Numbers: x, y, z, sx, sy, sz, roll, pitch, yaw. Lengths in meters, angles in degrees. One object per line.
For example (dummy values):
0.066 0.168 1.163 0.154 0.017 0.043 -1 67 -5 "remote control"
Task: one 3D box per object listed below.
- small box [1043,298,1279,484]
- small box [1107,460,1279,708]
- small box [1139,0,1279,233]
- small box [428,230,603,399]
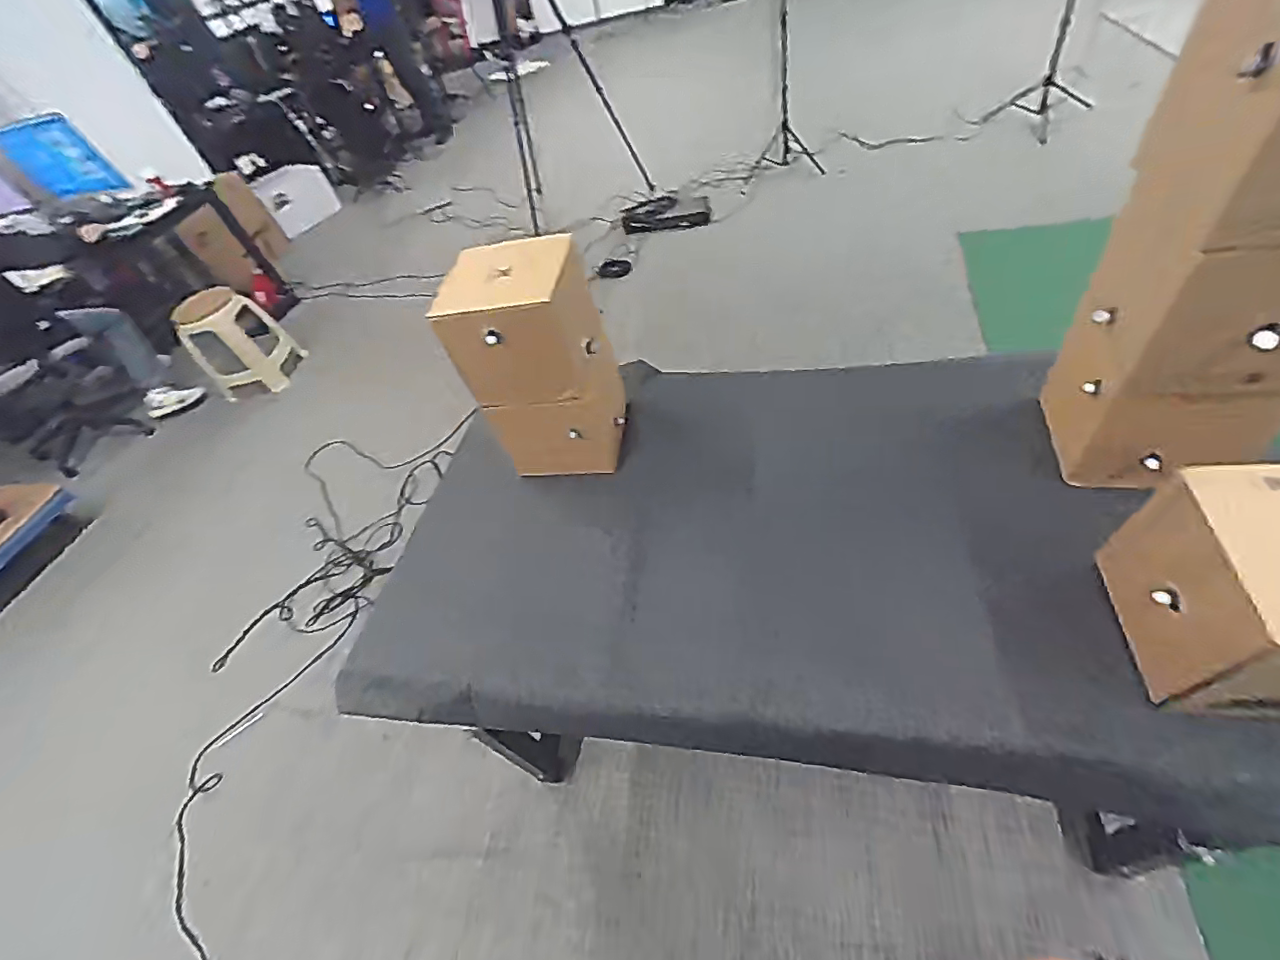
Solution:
0.639 -0.114 0.676 0.168 0.176 0.179 2 53 18 "small box"
0.574 0.098 0.491 0.168 0.179 0.176 -2 54 14 "small box"
0.556 -0.314 0.428 0.168 0.176 0.179 1 52 17 "small box"
-0.167 -0.233 0.787 0.179 0.176 0.168 -2 53 12 "small box"
